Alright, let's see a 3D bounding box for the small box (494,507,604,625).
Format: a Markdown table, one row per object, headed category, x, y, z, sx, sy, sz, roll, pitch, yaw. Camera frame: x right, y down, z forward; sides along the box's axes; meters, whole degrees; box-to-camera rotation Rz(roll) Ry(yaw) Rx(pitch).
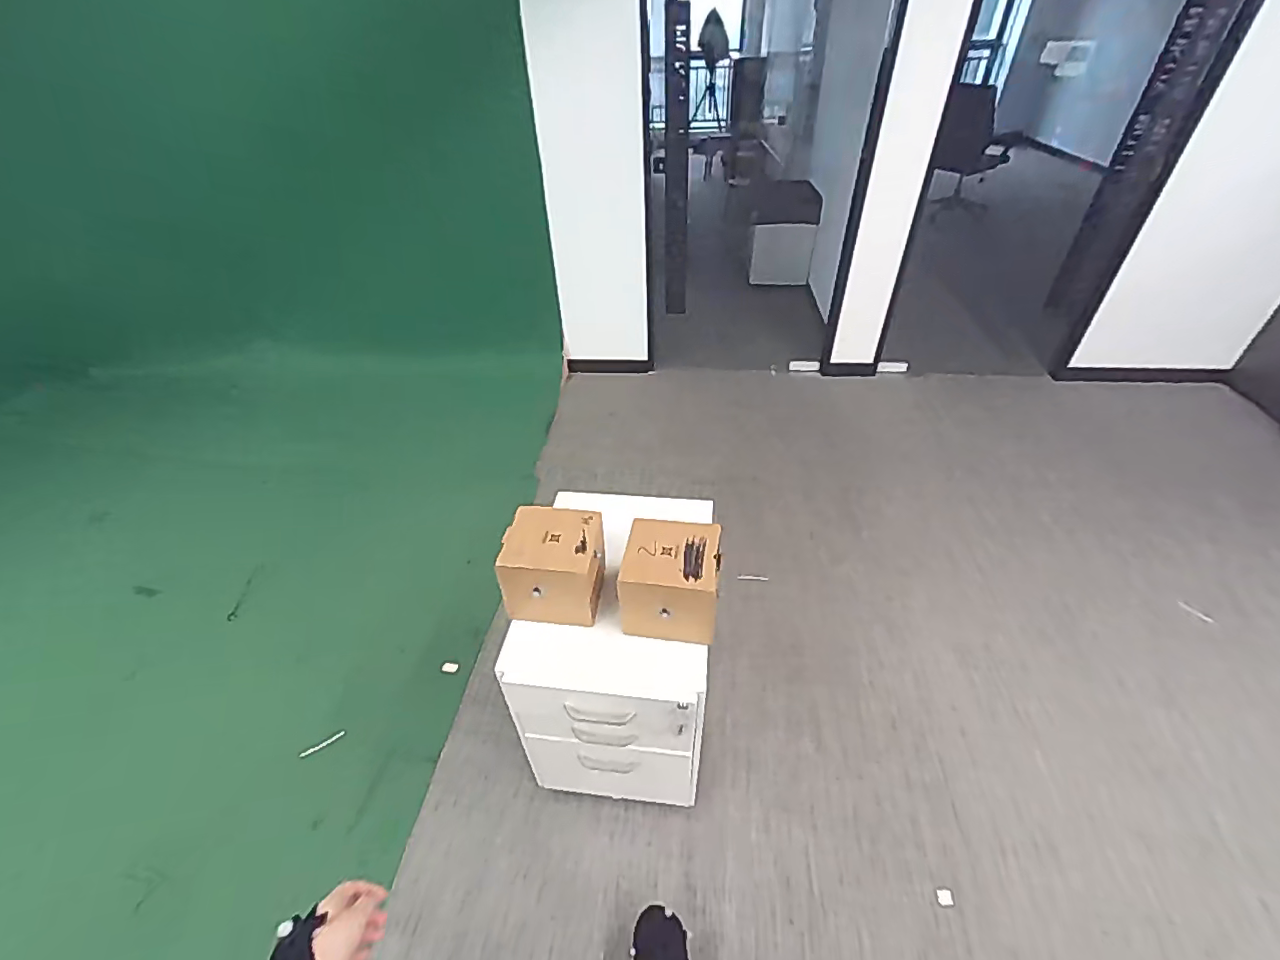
| category | x | y | z | sx | sy | sz | roll | pitch | yaw |
| --- | --- | --- | --- | --- | --- | --- | --- | --- | --- |
| small box | -0.174 | 0.175 | 1.094 | 0.179 | 0.176 | 0.168 | 4 | 40 | 5 |
